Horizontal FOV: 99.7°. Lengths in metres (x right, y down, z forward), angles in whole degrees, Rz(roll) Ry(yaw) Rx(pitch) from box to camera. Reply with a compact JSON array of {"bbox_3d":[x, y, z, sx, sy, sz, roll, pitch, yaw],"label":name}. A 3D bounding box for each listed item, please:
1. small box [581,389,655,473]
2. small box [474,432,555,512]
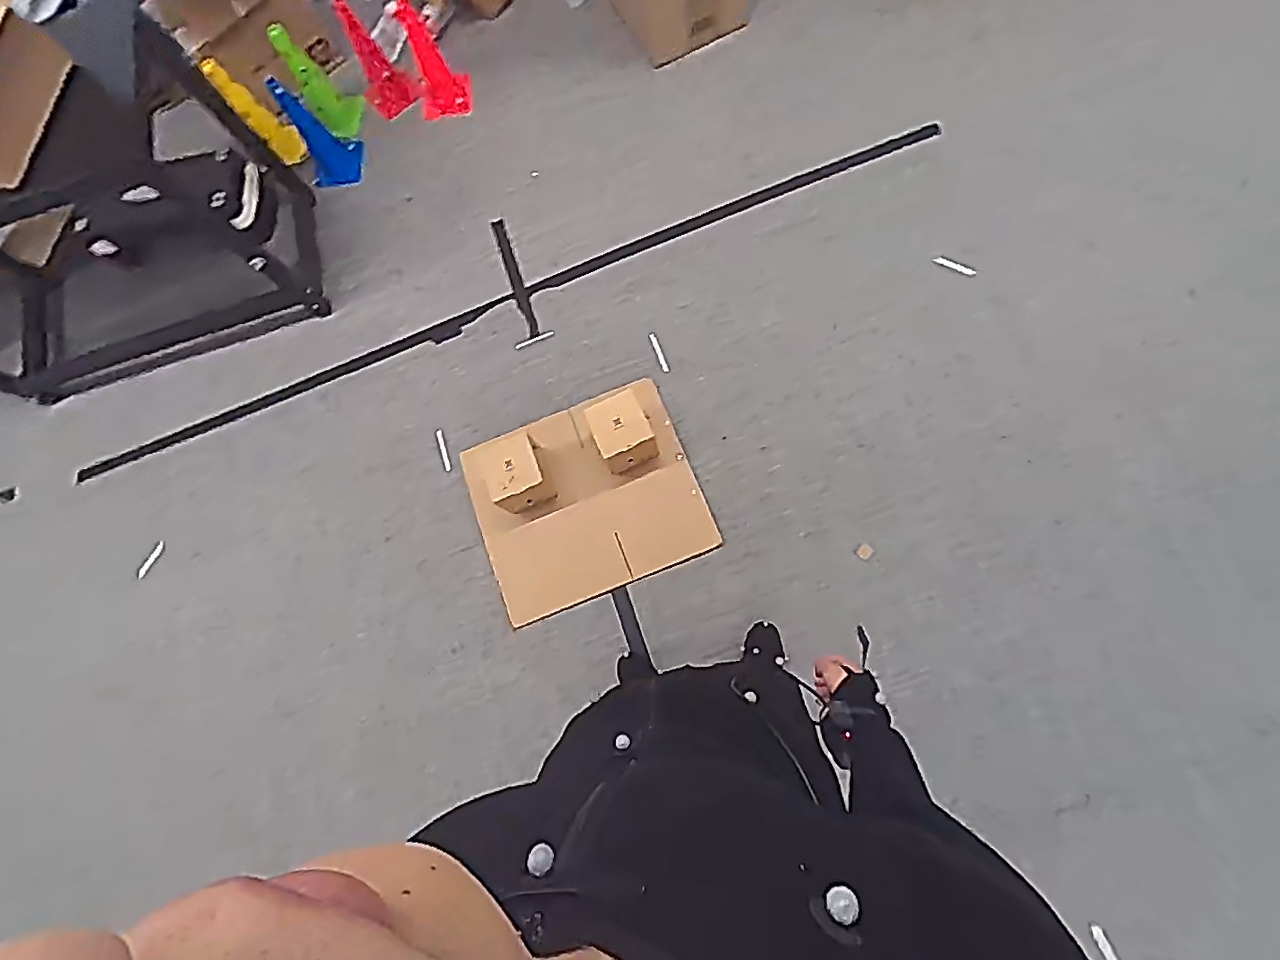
[{"bbox_3d":[-0.064,-0.146,1.674,0.168,0.176,0.179,-26,75,0],"label":"small box"},{"bbox_3d":[-0.383,-0.019,1.672,0.168,0.176,0.179,-23,75,2],"label":"small box"}]
